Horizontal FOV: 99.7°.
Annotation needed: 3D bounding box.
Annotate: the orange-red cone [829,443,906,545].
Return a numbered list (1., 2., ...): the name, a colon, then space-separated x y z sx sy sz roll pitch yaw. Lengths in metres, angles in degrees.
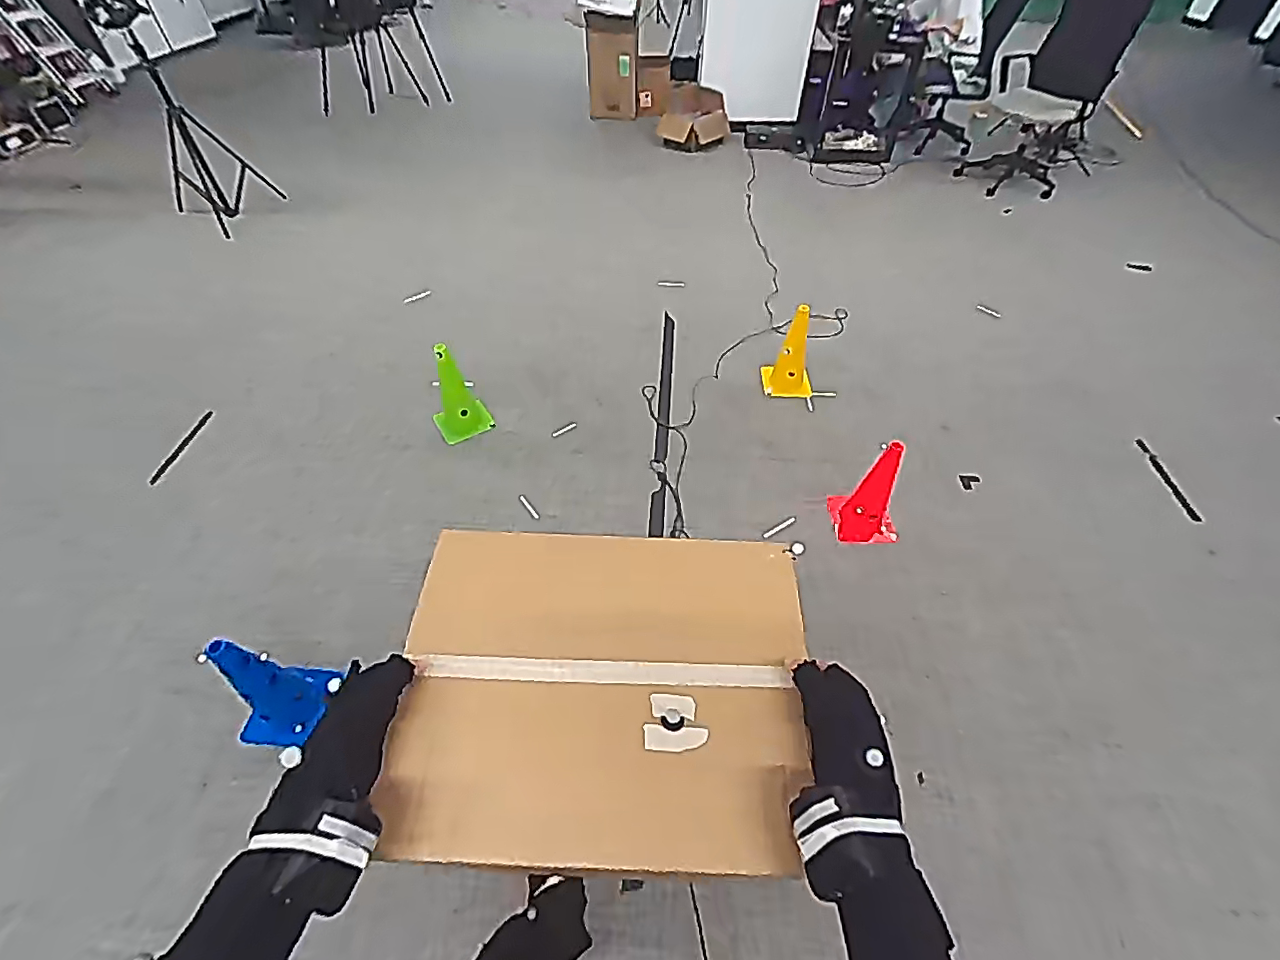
1. orange-red cone: 0.755 0.021 1.709 0.198 0.360 0.199 1 47 0

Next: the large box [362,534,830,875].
1. large box: -0.038 0.281 0.659 0.408 0.320 0.320 2 53 0

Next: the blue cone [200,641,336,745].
1. blue cone: -0.926 0.490 1.314 0.192 0.380 0.193 4 48 5

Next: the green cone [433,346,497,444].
1. green cone: -0.701 -0.348 2.039 0.202 0.368 0.200 -28 53 -21
